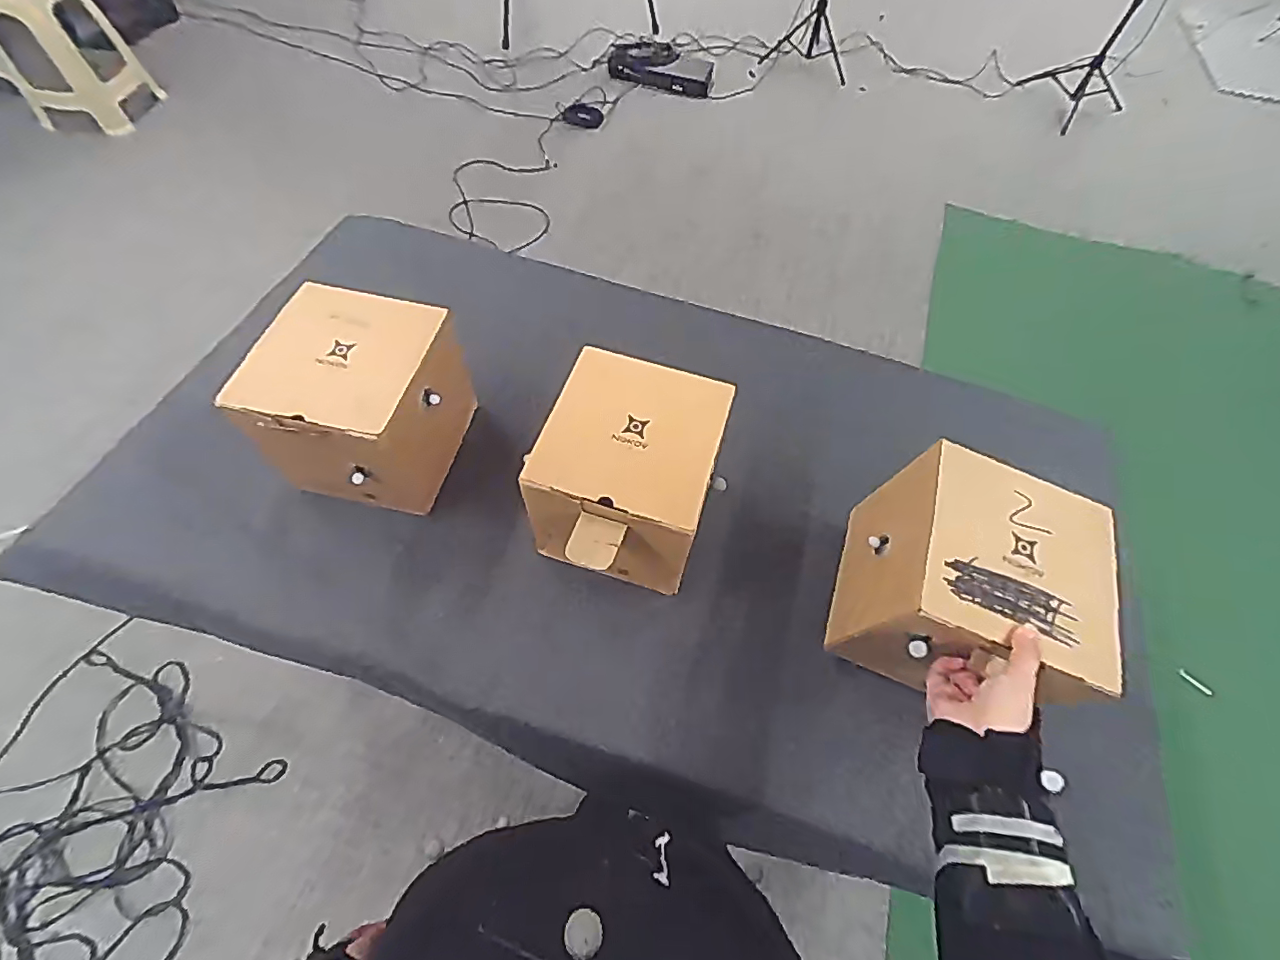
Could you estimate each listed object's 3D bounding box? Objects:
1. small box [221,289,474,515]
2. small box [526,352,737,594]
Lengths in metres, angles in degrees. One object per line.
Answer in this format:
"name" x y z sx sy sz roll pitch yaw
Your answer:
"small box" -0.304 -0.080 0.615 0.168 0.176 0.179 12 58 2
"small box" -0.008 -0.002 0.586 0.168 0.176 0.179 17 60 6
